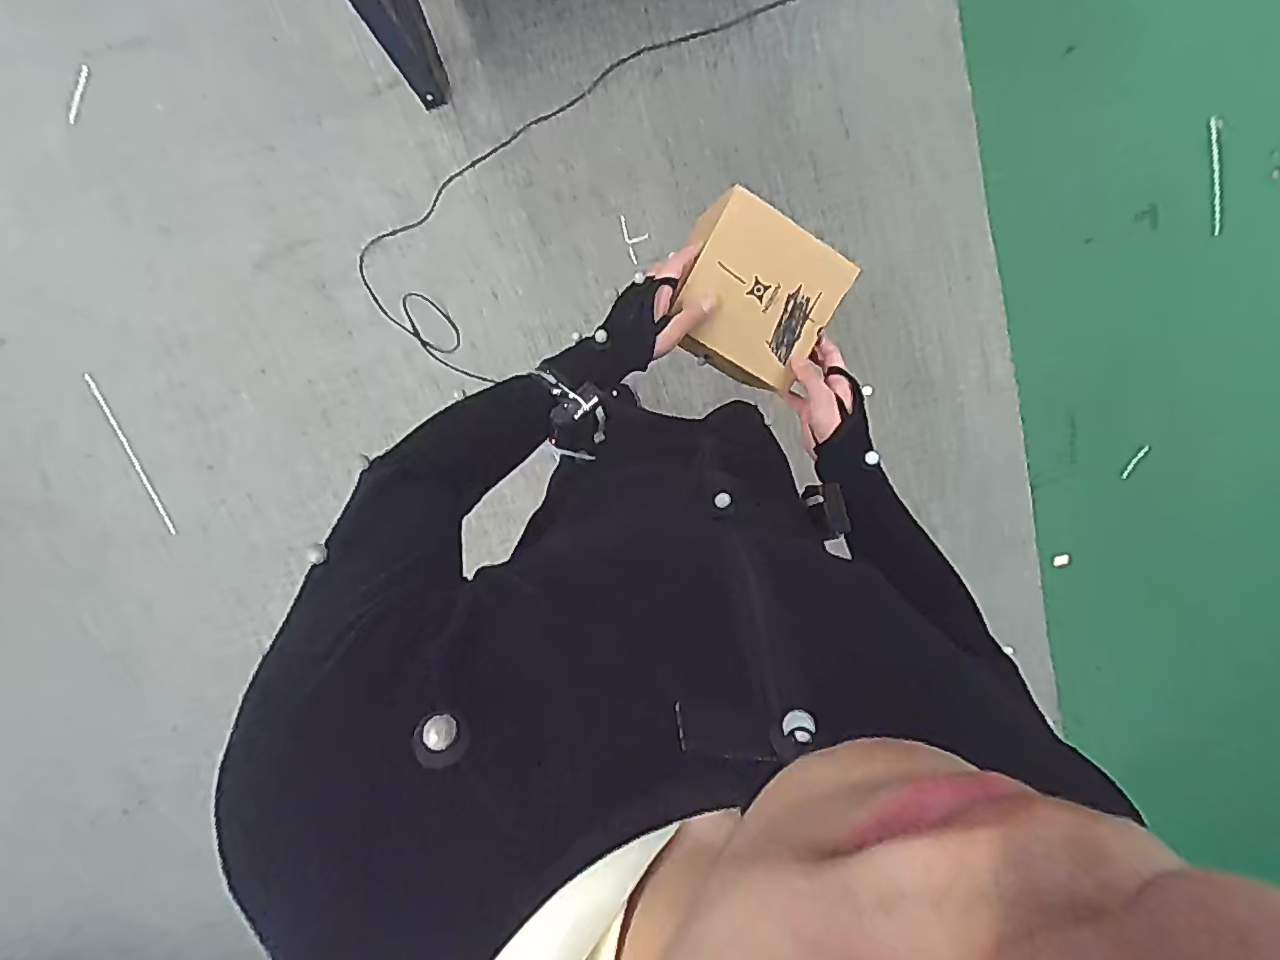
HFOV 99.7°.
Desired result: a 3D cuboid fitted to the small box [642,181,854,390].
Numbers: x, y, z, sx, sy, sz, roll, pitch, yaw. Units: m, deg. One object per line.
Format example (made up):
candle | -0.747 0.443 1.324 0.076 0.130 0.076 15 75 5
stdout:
small box | 0.122 -0.234 0.682 0.179 0.176 0.168 27 99 -14
